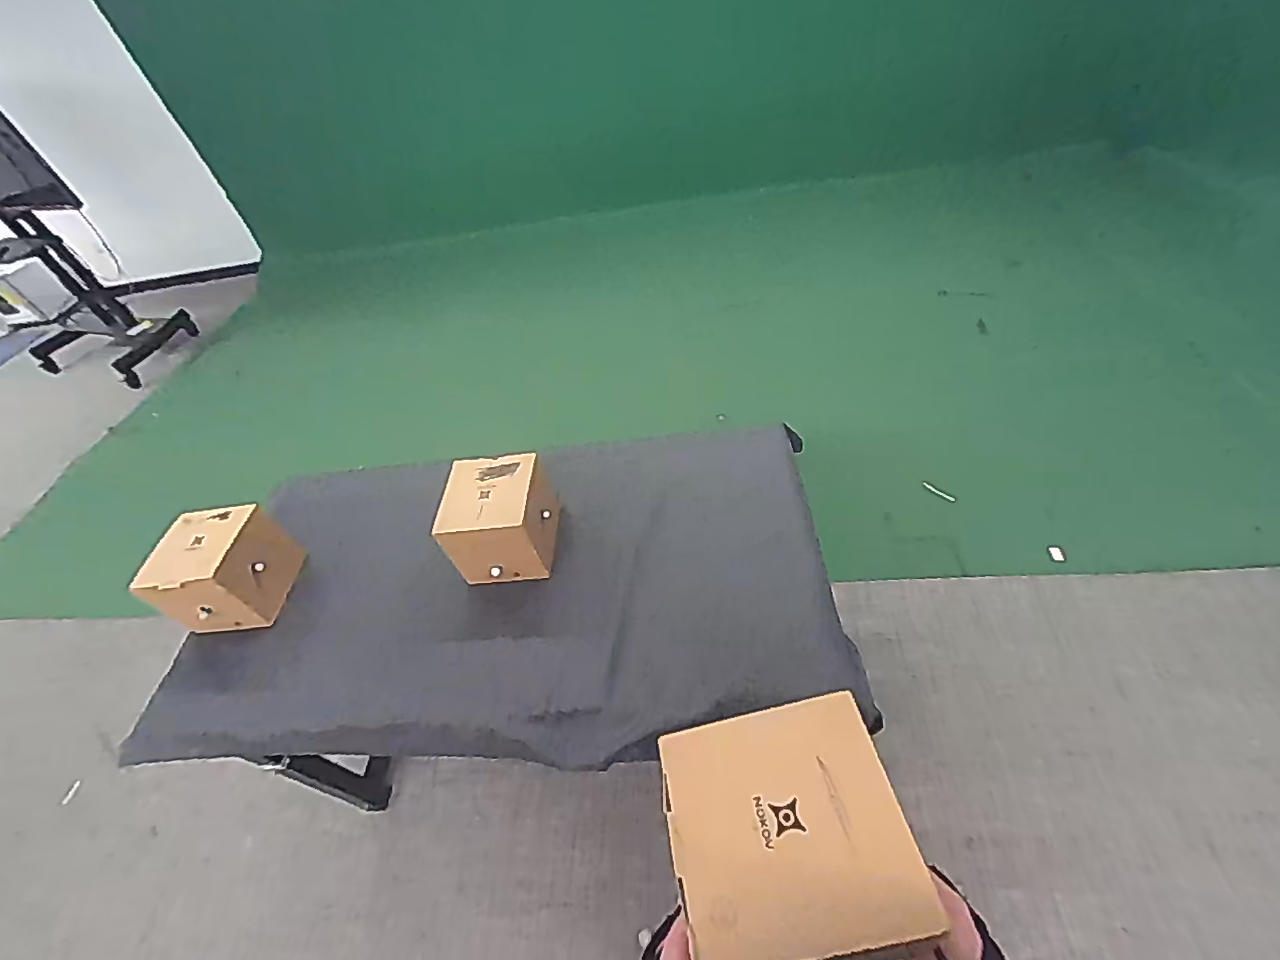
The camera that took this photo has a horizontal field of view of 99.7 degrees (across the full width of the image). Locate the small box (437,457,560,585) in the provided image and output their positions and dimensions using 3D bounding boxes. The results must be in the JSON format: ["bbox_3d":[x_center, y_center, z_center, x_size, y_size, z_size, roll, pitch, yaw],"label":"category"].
[{"bbox_3d":[-0.256,0.080,1.032,0.168,0.176,0.179,-5,48,7],"label":"small box"}]

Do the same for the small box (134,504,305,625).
[{"bbox_3d":[-0.800,0.171,1.056,0.168,0.176,0.179,-6,48,5],"label":"small box"}]

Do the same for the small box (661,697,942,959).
[{"bbox_3d":[0.131,0.323,0.480,0.179,0.176,0.168,-15,45,3],"label":"small box"}]
